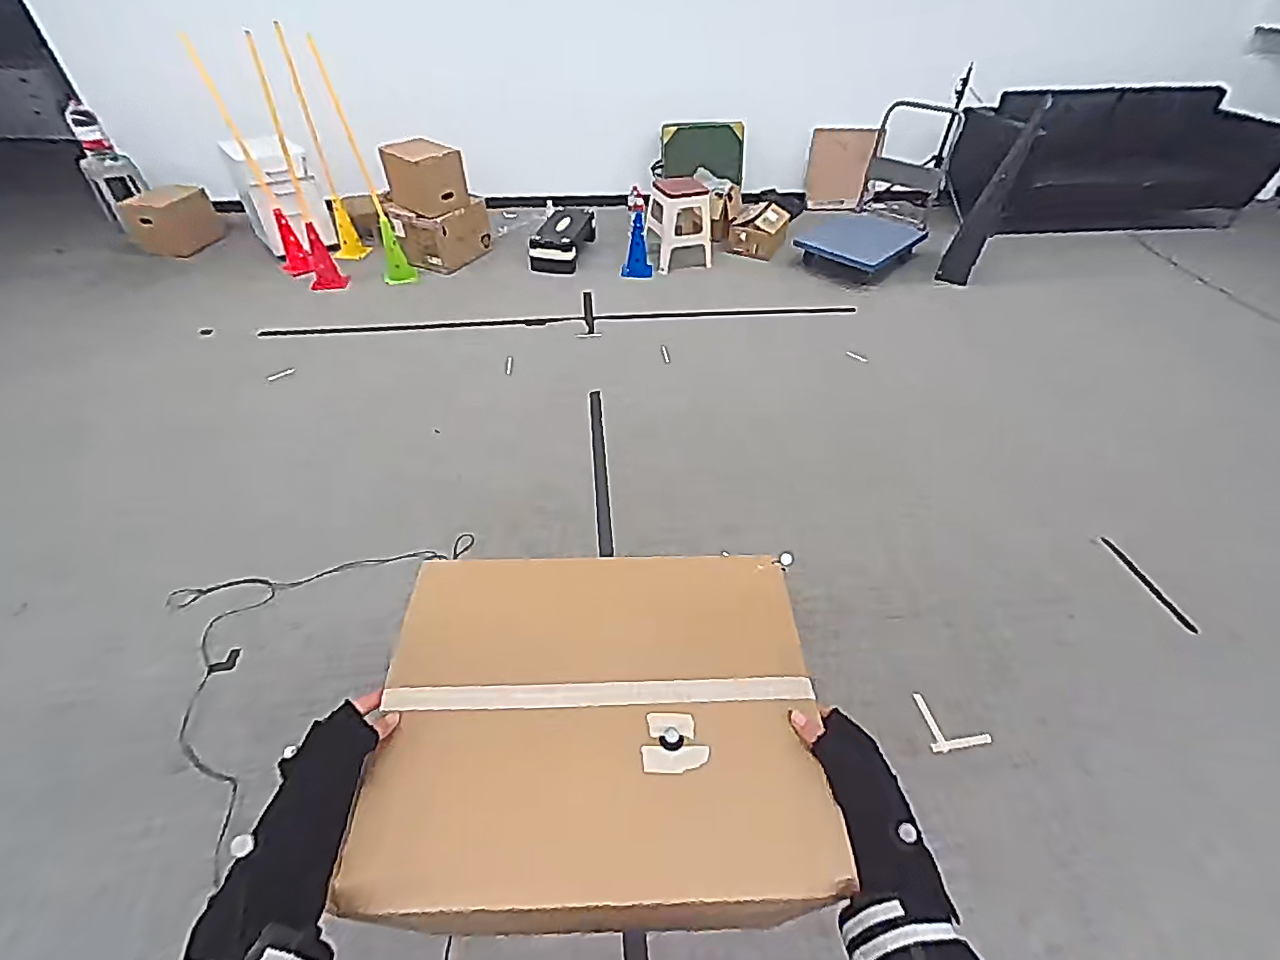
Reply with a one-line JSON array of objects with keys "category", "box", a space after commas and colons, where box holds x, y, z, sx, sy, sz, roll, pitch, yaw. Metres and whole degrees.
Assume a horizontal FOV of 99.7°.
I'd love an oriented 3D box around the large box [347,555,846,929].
[{"category": "large box", "box": [-0.039, 0.305, 0.632, 0.408, 0.320, 0.320, -1, 48, -2]}]
